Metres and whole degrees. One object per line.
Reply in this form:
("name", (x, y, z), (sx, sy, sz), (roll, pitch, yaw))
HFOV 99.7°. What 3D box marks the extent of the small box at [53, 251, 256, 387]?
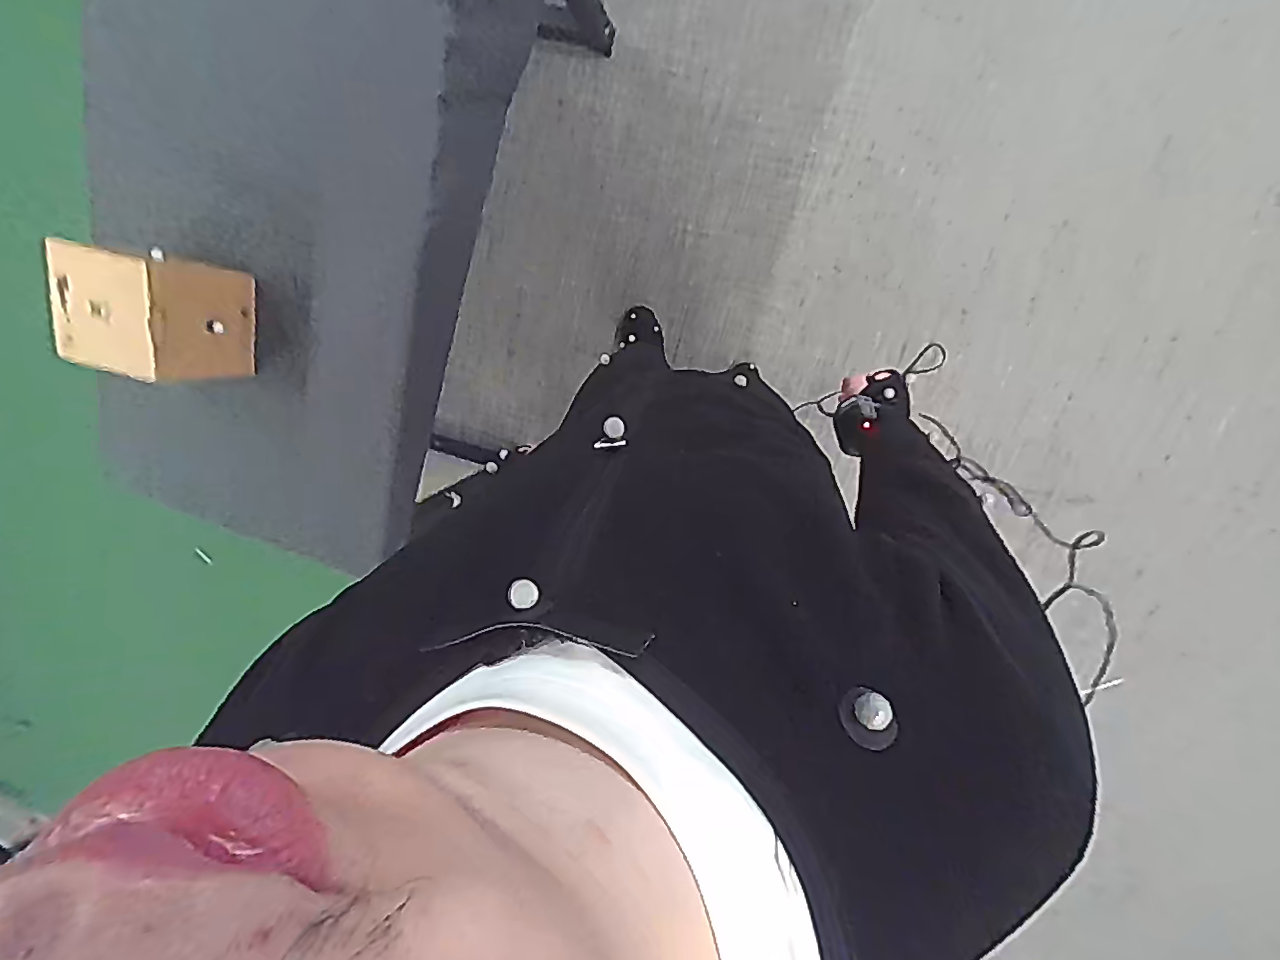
("small box", (-0.740, -0.251, 0.849), (0.179, 0.176, 0.168), (12, 107, 8))
